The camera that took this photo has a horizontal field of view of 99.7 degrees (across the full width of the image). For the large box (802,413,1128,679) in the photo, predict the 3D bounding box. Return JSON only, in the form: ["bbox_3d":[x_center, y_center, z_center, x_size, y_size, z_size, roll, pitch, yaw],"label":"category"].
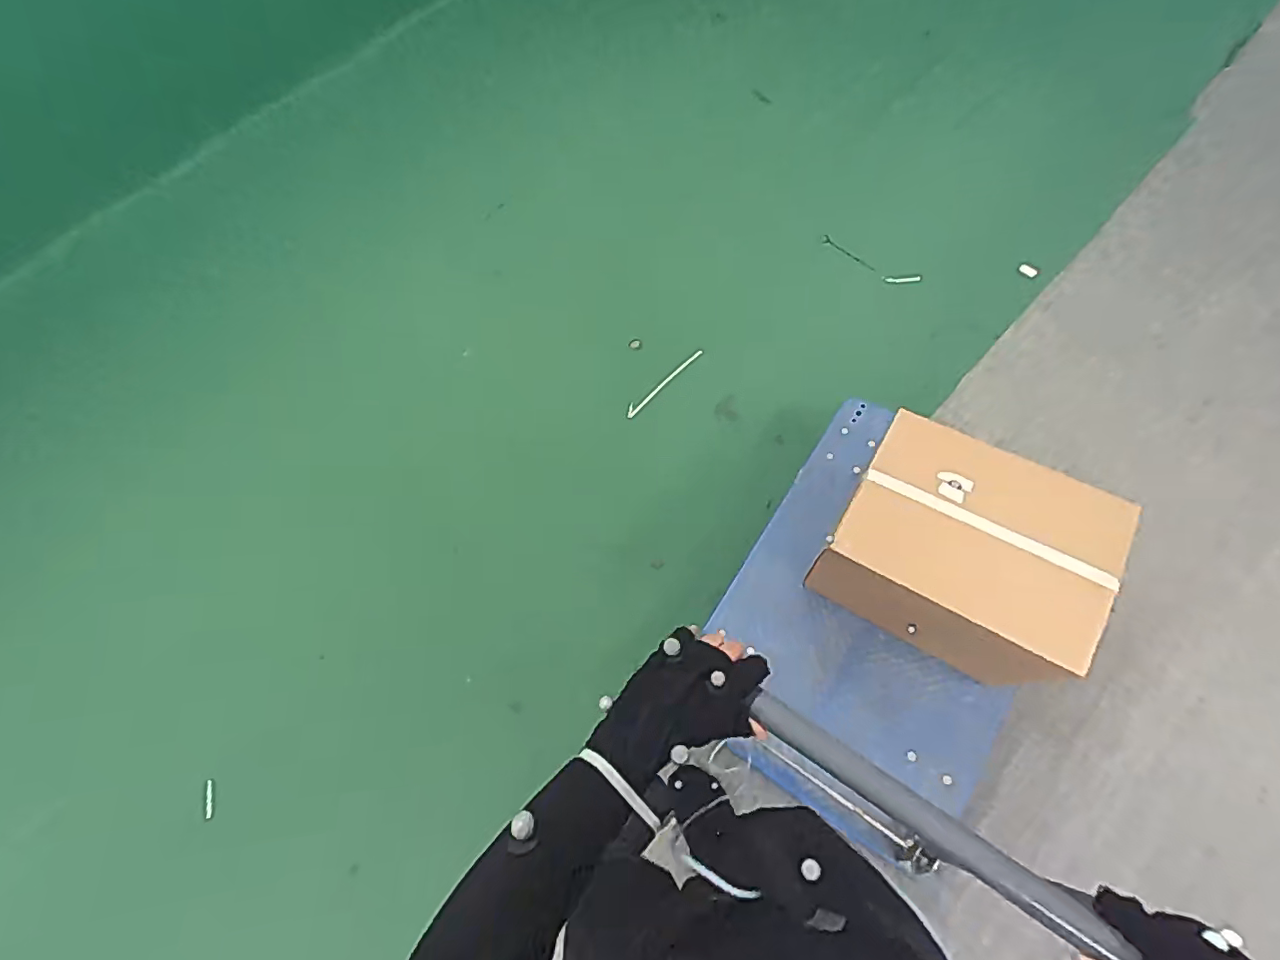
[{"bbox_3d":[0.579,0.138,1.041,0.408,0.320,0.320,28,73,19],"label":"large box"}]
